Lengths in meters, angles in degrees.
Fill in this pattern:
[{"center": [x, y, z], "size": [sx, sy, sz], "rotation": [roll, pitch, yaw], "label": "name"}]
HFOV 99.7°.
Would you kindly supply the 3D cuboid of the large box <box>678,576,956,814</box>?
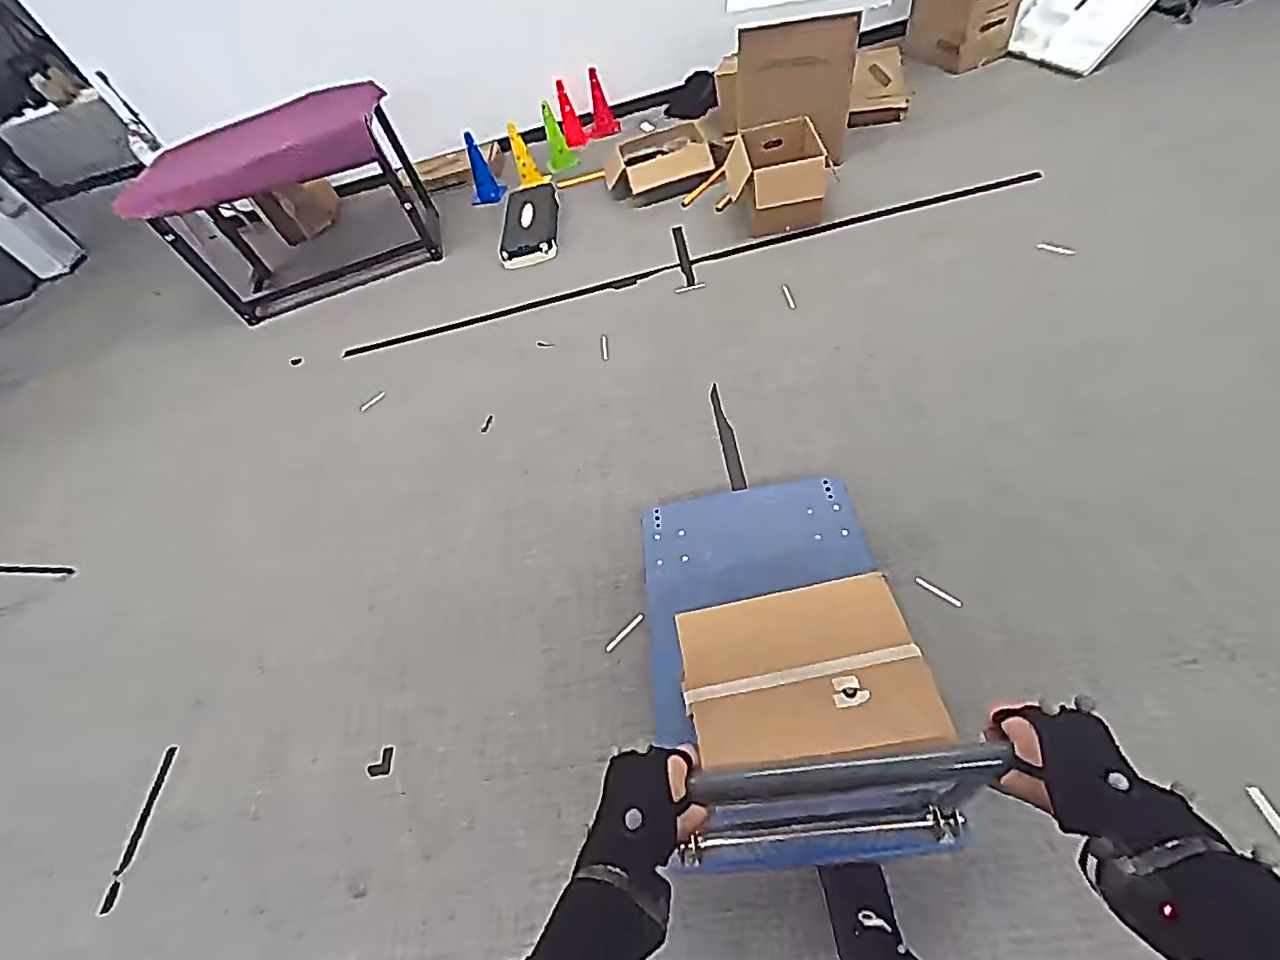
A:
[{"center": [0.313, 0.434, 1.069], "size": [0.408, 0.320, 0.320], "rotation": [-13, 53, 4], "label": "large box"}]
